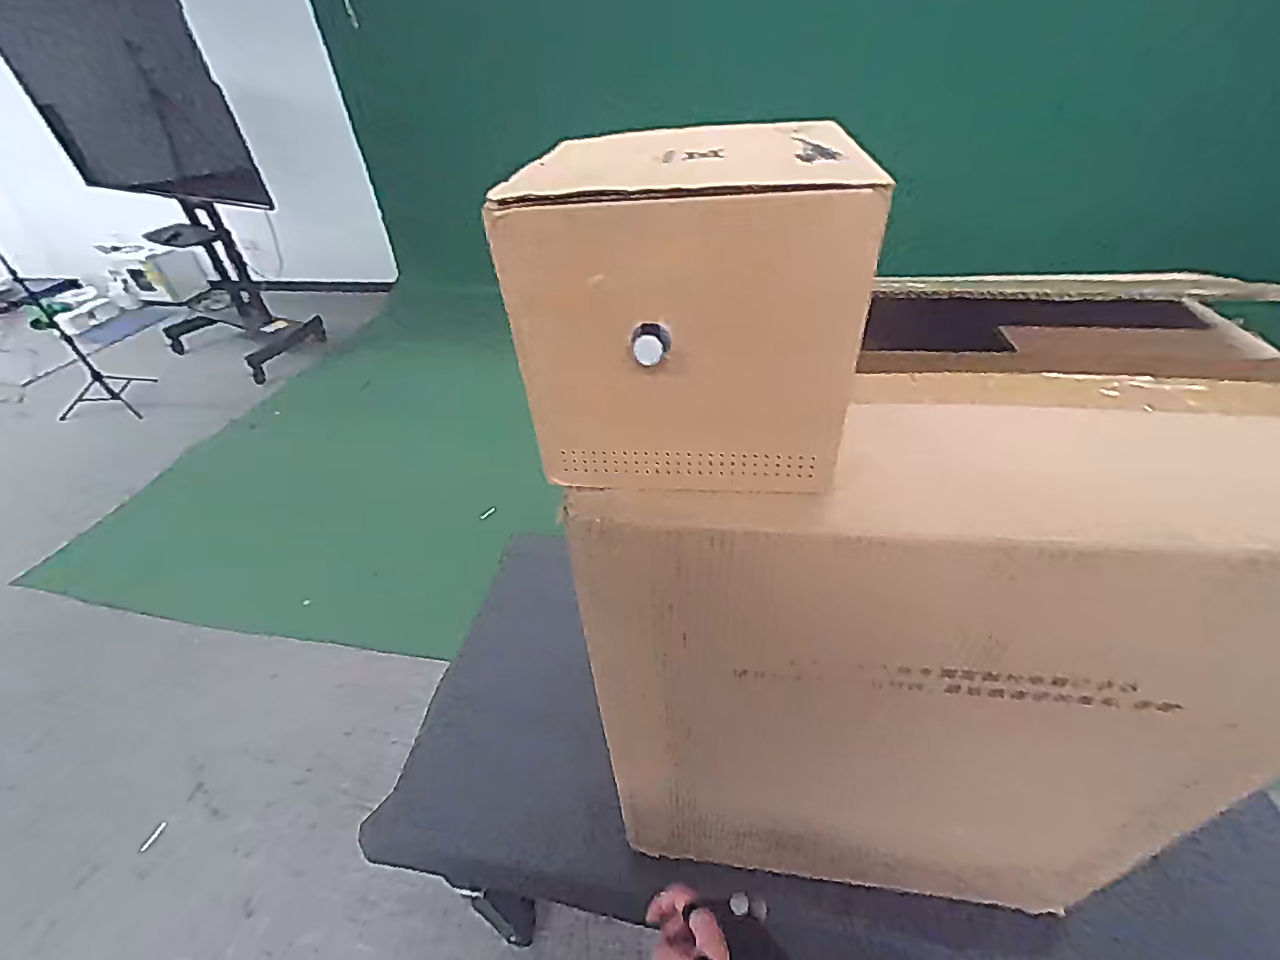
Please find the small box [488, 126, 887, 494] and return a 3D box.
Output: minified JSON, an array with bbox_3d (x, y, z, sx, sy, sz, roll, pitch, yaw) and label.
[{"bbox_3d":[0.033,-0.104,0.340,0.179,0.176,0.168,1,41,9],"label":"small box"}]
